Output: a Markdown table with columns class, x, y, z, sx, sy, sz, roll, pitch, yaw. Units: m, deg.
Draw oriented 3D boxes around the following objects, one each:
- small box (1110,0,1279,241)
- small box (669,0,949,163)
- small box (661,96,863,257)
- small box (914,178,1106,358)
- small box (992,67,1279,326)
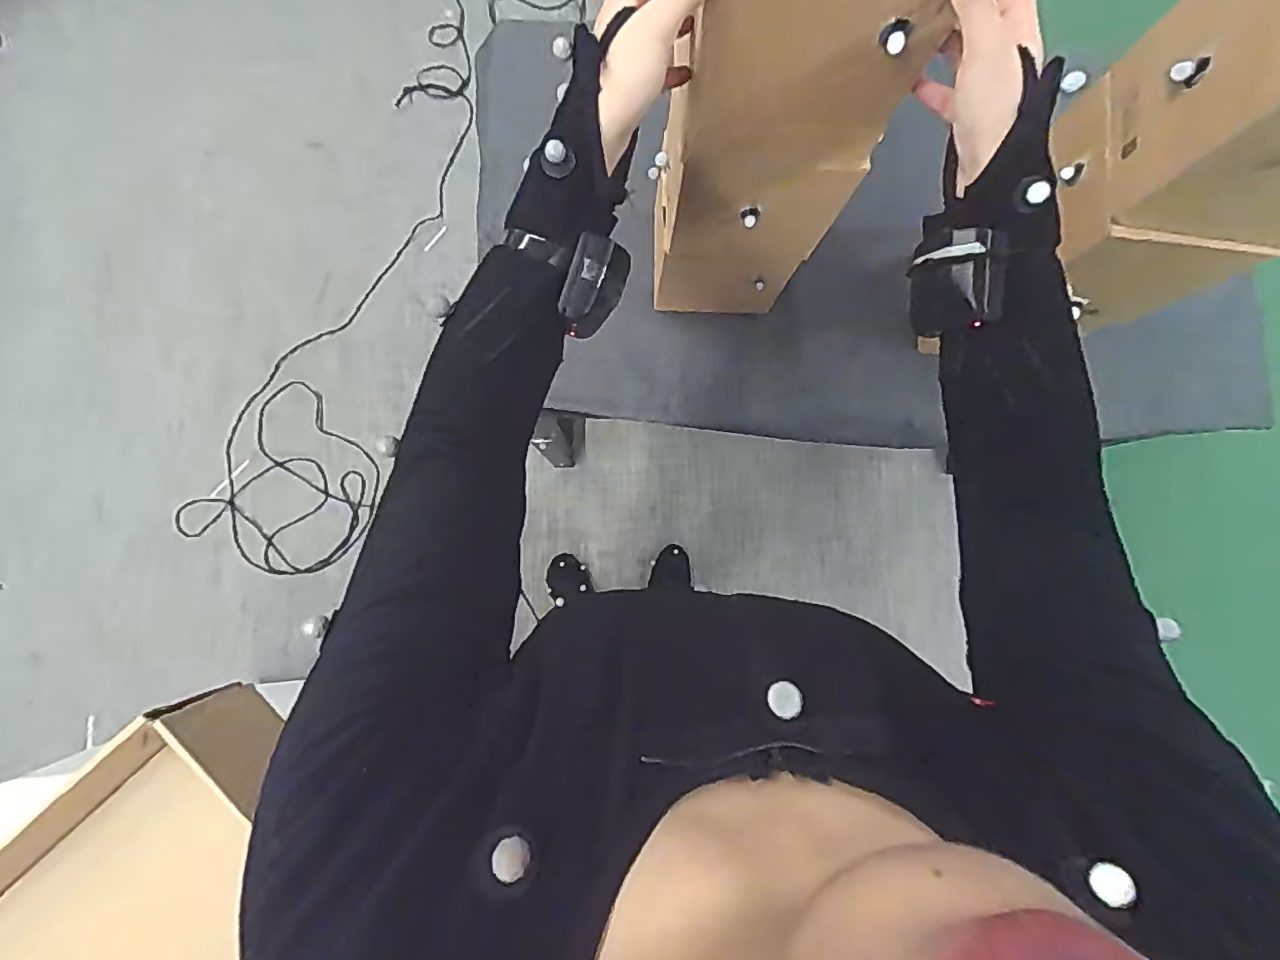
| class | x | y | z | sx | sy | sz | roll | pitch | yaw |
| --- | --- | --- | --- | --- | --- | --- | --- | --- | --- |
| small box | 0.520 | -0.312 | 0.422 | 0.179 | 0.176 | 0.168 | 8 | 83 | 1 |
| small box | 0.114 | -0.376 | 0.420 | 0.179 | 0.176 | 0.168 | -1 | 84 | -3 |
| small box | 0.118 | -0.359 | 0.581 | 0.179 | 0.176 | 0.168 | 1 | 84 | -1 |
| small box | 0.511 | -0.278 | 0.746 | 0.179 | 0.176 | 0.168 | 5 | 82 | -1 |
| small box | 0.514 | -0.290 | 0.585 | 0.168 | 0.176 | 0.179 | 6 | 84 | 1 |
